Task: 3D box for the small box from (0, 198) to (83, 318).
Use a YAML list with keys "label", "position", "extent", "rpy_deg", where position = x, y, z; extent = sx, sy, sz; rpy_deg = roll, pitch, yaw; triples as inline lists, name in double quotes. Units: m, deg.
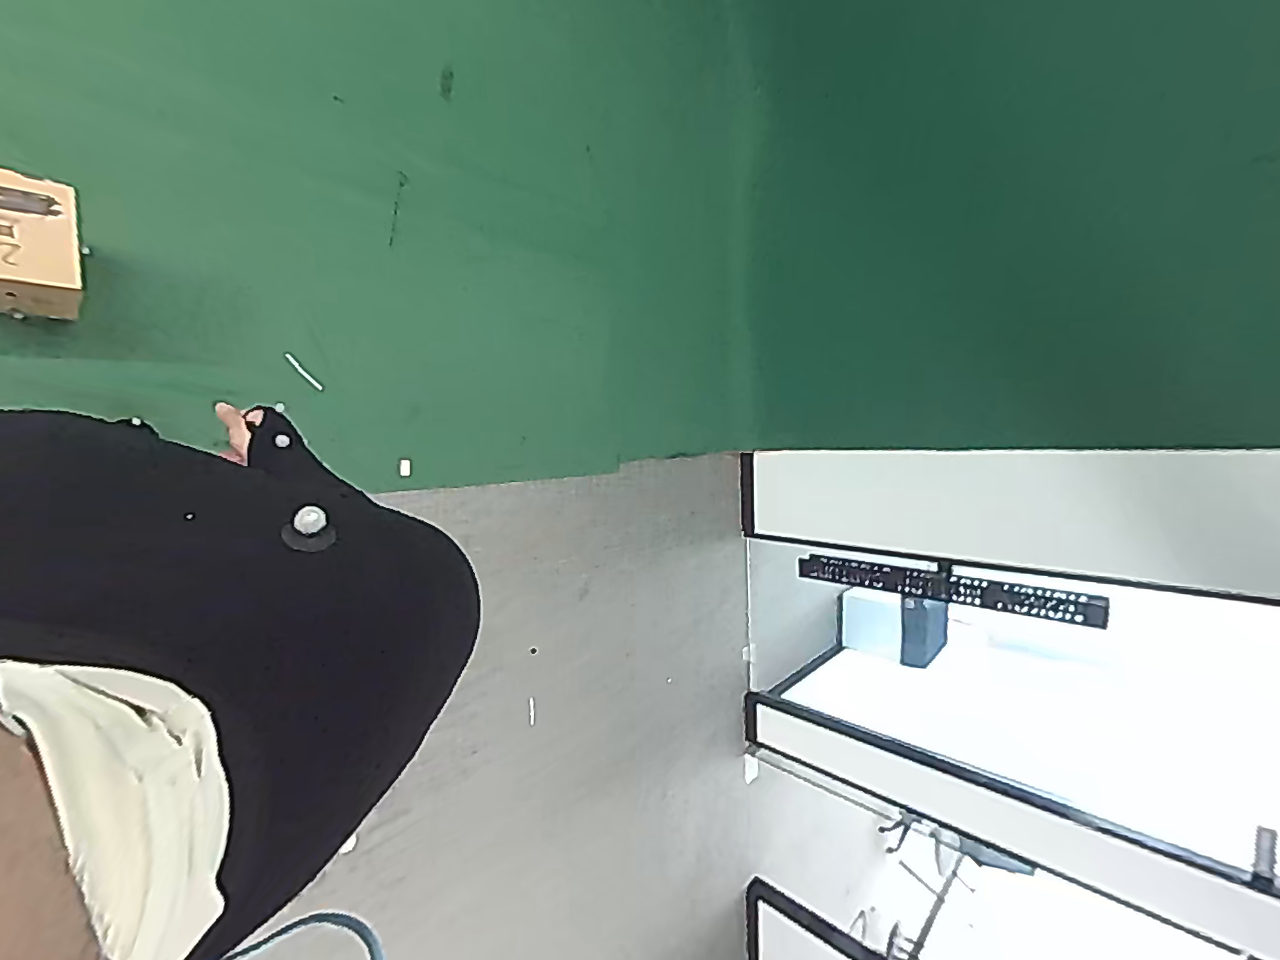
- label: "small box"
  position: [-1.196, -0.425, 1.040]
  extent: [0.168, 0.176, 0.179]
  rpy_deg: [-4, 96, -45]
